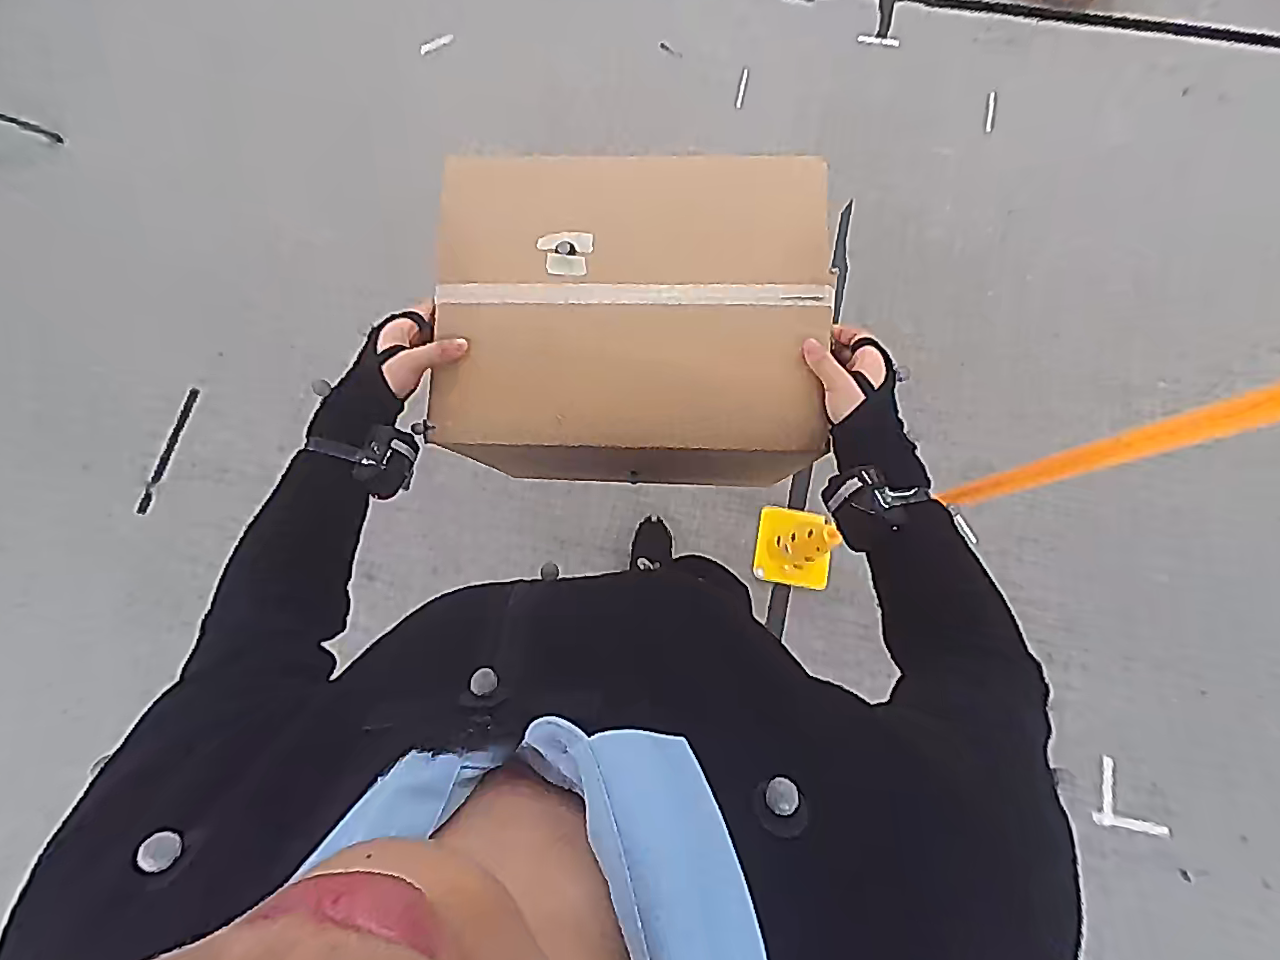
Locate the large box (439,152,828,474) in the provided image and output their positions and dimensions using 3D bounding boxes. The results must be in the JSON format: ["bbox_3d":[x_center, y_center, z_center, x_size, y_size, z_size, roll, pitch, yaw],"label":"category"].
[{"bbox_3d":[0.004,-0.177,0.712,0.408,0.320,0.320,1,82,4],"label":"large box"}]
